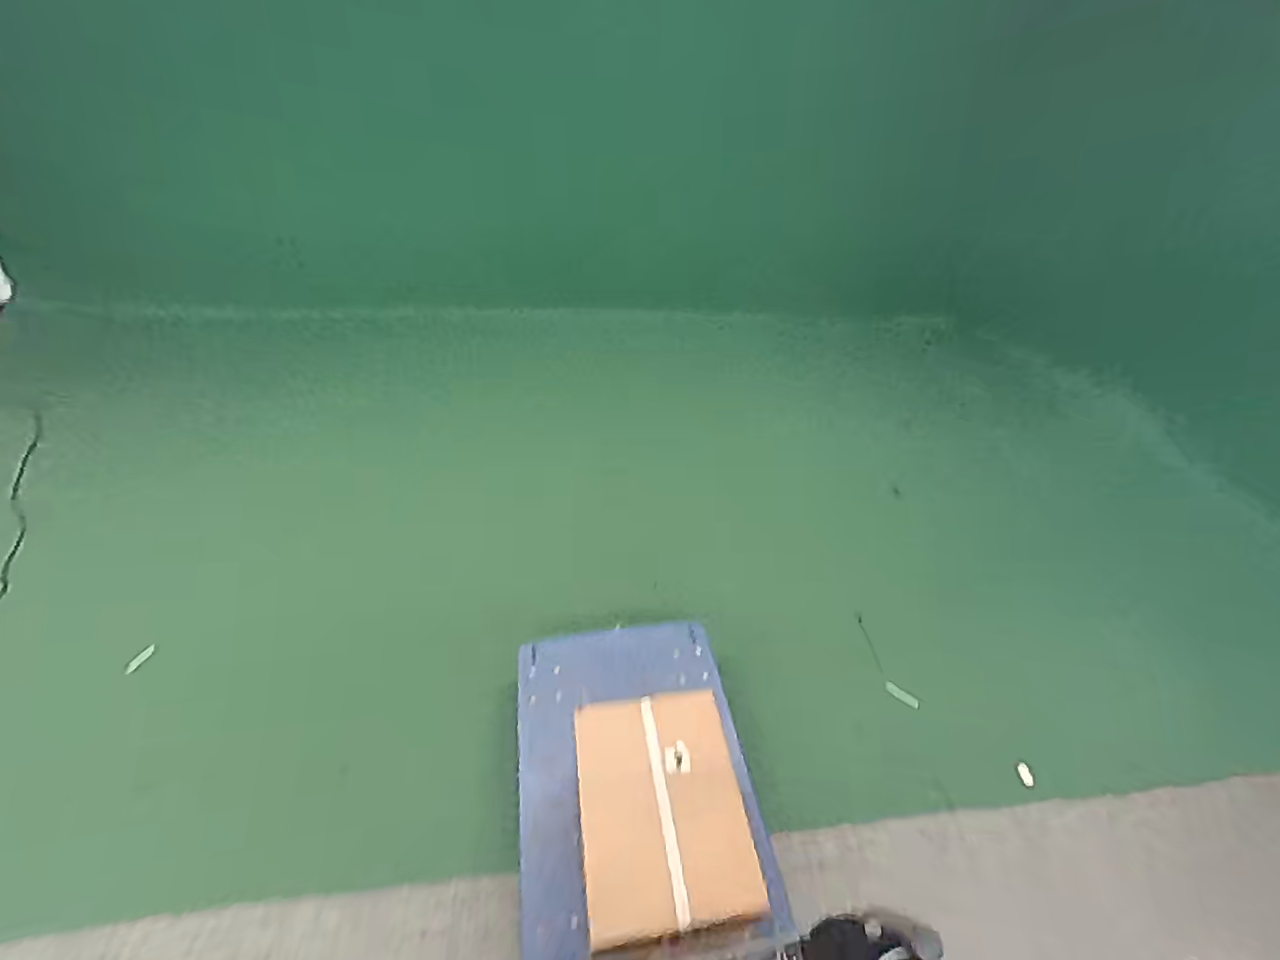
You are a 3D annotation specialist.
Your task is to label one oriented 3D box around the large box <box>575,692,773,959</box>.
[{"bbox_3d":[0.041,0.730,1.139,0.320,0.320,0.408,-4,41,-9],"label":"large box"}]
